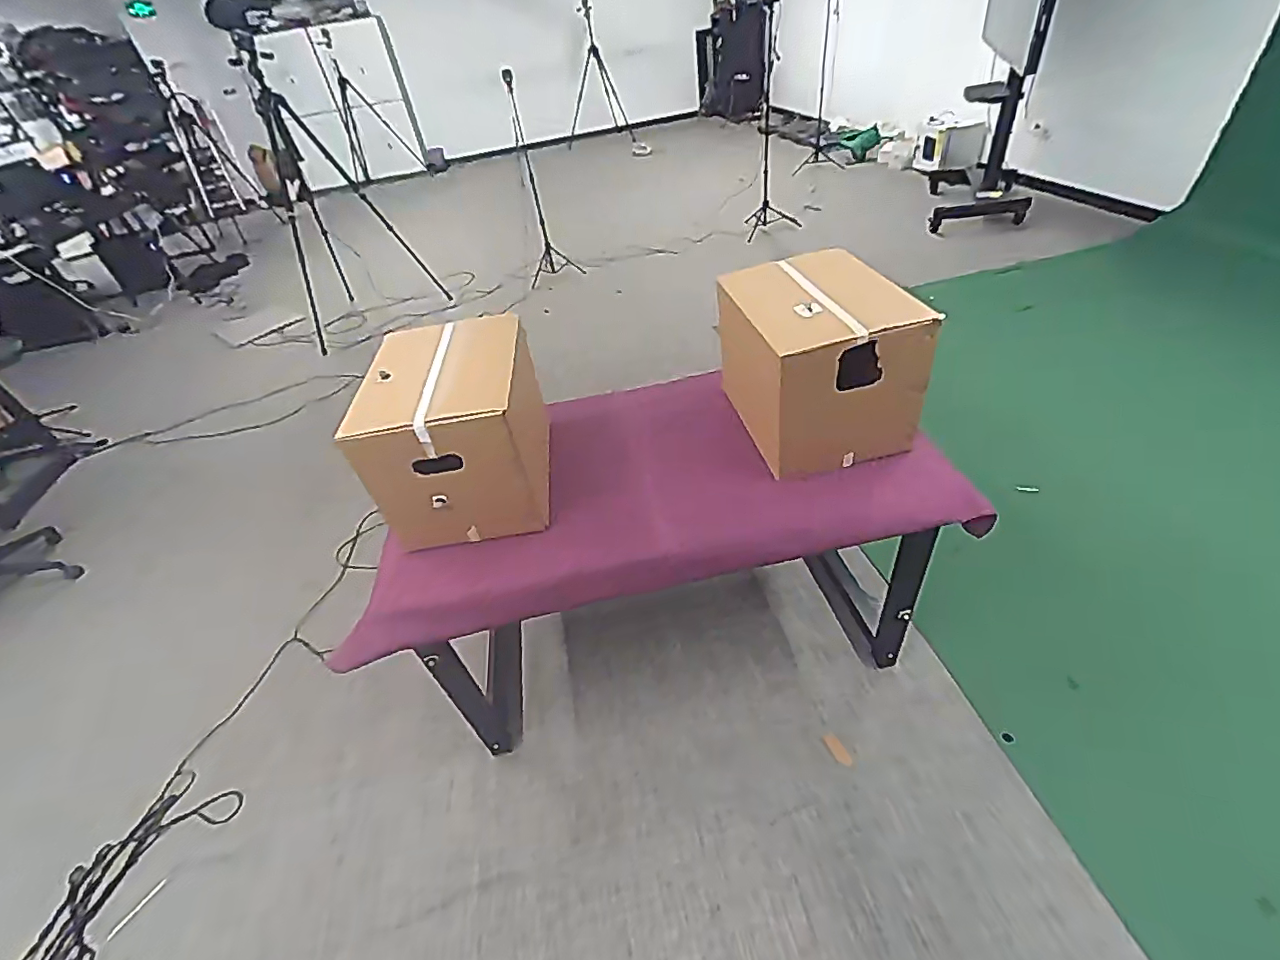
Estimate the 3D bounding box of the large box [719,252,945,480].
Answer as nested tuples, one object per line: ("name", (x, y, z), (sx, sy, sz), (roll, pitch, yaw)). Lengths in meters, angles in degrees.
("large box", (0.389, -0.265, 1.215), (0.320, 0.320, 0.408), (-14, 42, -1))
